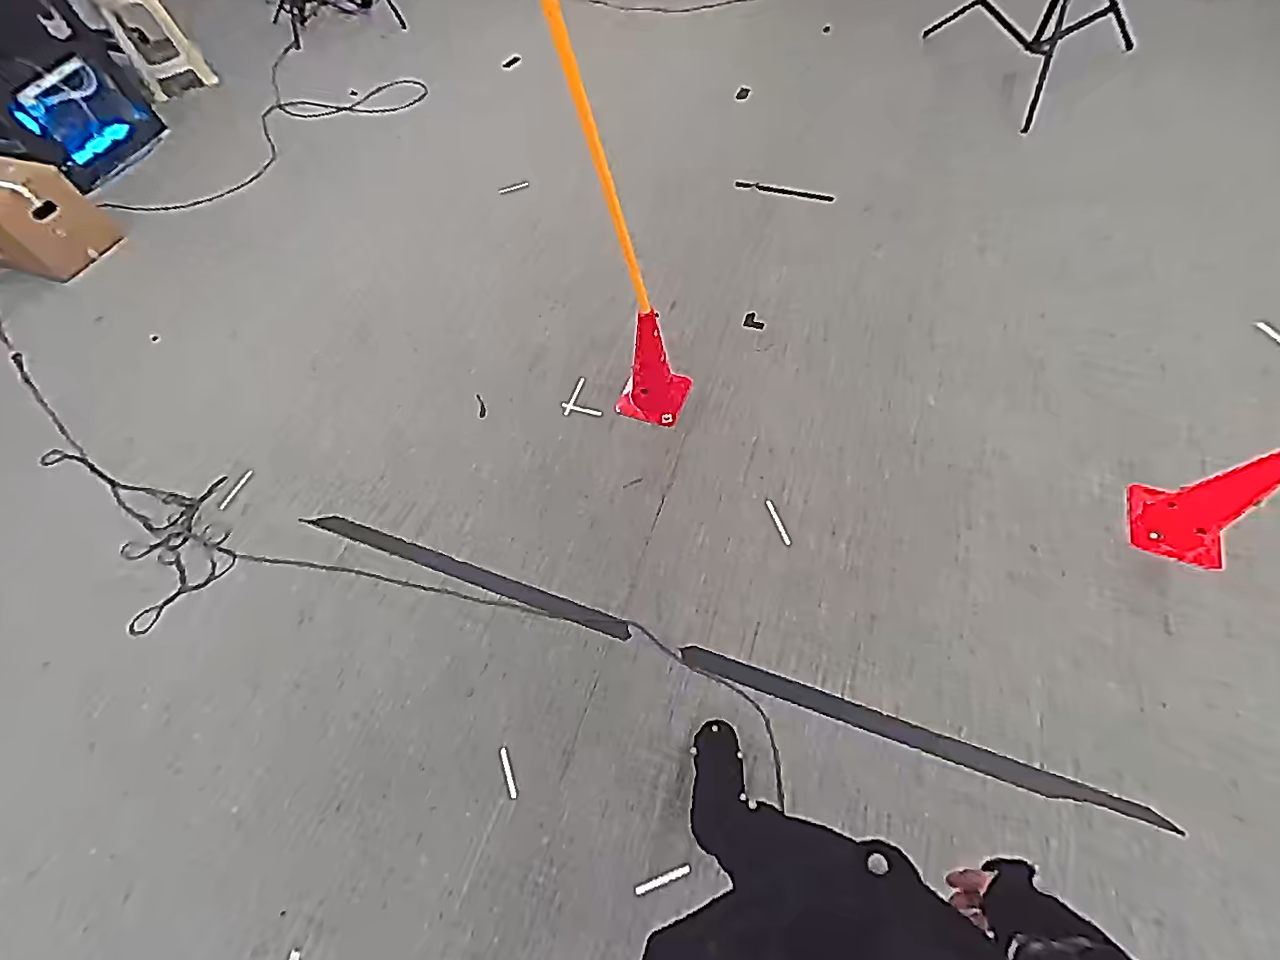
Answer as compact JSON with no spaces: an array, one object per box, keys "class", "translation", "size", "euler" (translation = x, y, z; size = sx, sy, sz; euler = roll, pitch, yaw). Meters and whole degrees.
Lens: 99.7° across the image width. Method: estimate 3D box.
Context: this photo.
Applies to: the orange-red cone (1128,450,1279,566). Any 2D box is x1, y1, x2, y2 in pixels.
[{"class":"orange-red cone","translation":[1.339,0.022,1.216],"size":[0.199,0.360,0.198],"euler":[19,64,14]}]
